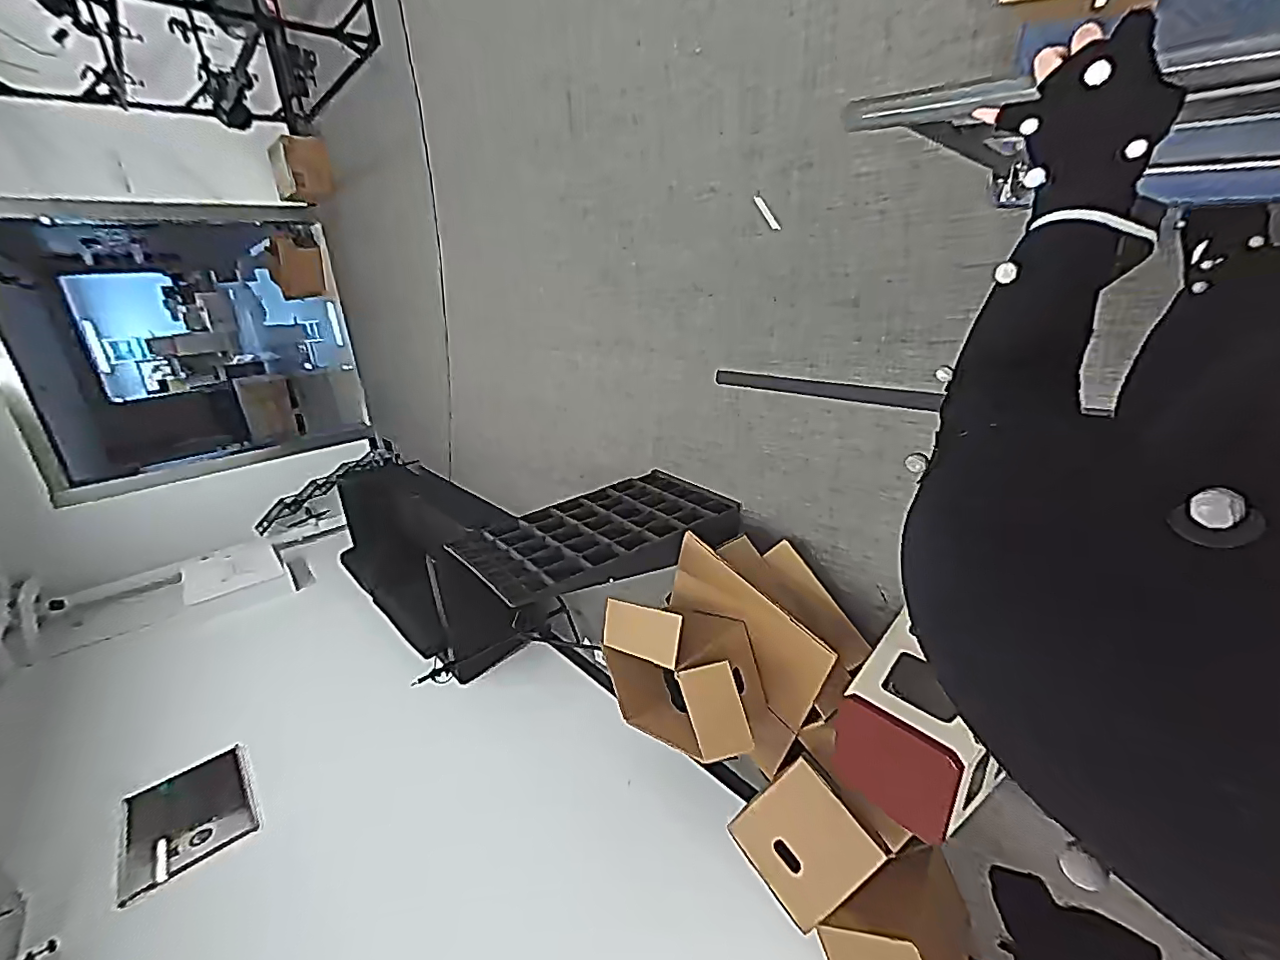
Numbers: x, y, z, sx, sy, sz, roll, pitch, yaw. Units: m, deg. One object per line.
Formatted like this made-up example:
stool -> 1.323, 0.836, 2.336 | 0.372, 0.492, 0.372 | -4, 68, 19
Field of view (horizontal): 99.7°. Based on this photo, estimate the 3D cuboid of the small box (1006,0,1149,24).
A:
small box -> 0.691, -0.823, 0.819 | 0.179, 0.176, 0.168 | 30, 127, 39
